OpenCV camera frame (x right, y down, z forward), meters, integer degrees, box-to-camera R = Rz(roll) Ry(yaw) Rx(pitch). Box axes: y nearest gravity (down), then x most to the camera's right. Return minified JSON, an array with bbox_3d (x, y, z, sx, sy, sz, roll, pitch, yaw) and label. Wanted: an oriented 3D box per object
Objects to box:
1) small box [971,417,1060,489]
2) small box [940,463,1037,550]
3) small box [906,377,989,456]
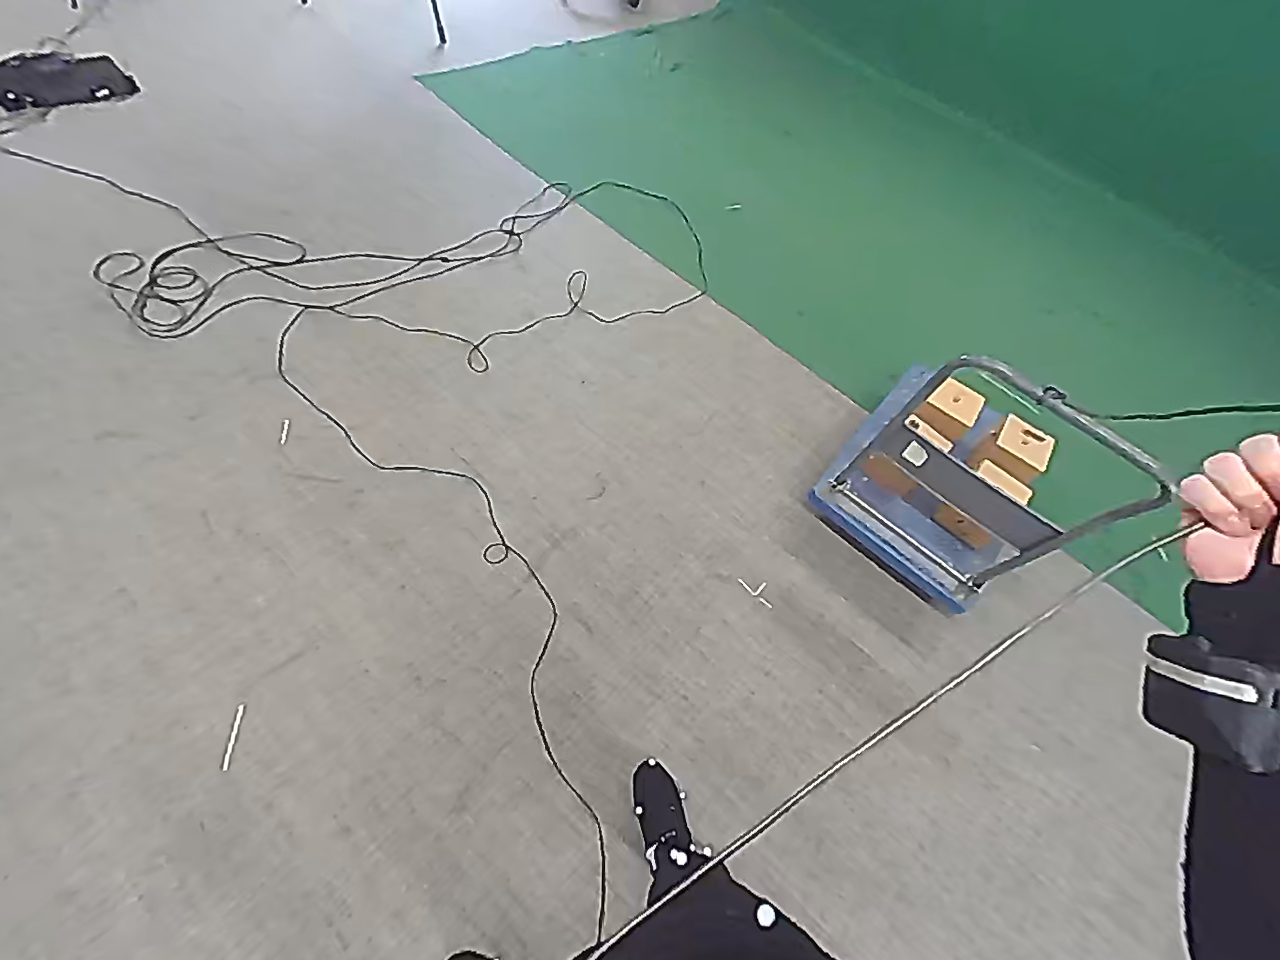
[{"bbox_3d":[1.259,-0.072,1.823,0.168,0.176,0.179,36,60,13],"label":"small box"},{"bbox_3d":[1.083,0.086,1.692,0.168,0.176,0.179,41,61,15],"label":"small box"},{"bbox_3d":[1.060,-0.217,1.877,0.168,0.176,0.179,37,59,12],"label":"small box"}]
